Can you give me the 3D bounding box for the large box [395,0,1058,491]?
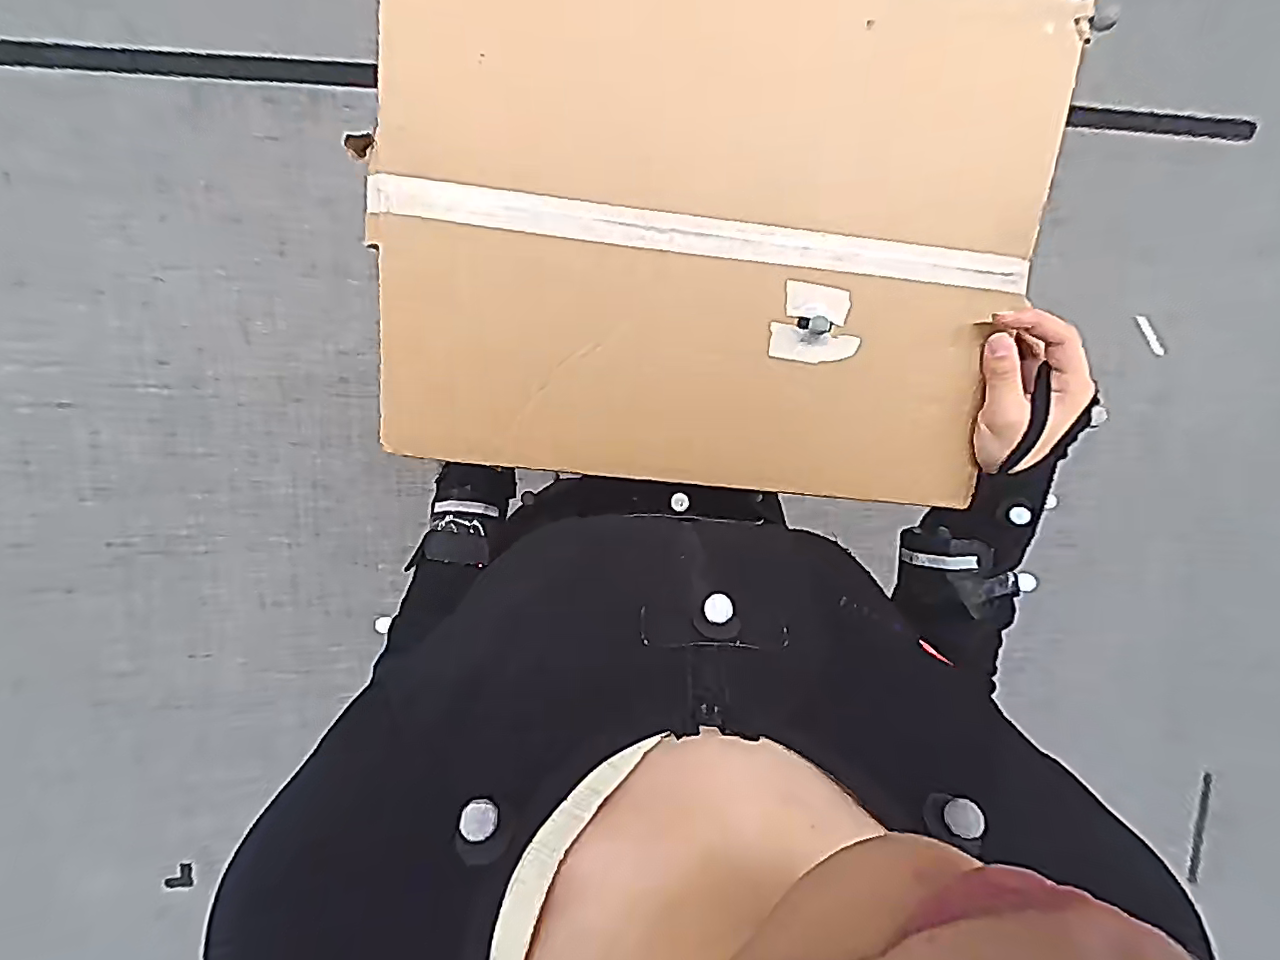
[{"bbox_3d":[0.037,-0.183,0.488,0.408,0.320,0.320,4,103,-6],"label":"large box"}]
